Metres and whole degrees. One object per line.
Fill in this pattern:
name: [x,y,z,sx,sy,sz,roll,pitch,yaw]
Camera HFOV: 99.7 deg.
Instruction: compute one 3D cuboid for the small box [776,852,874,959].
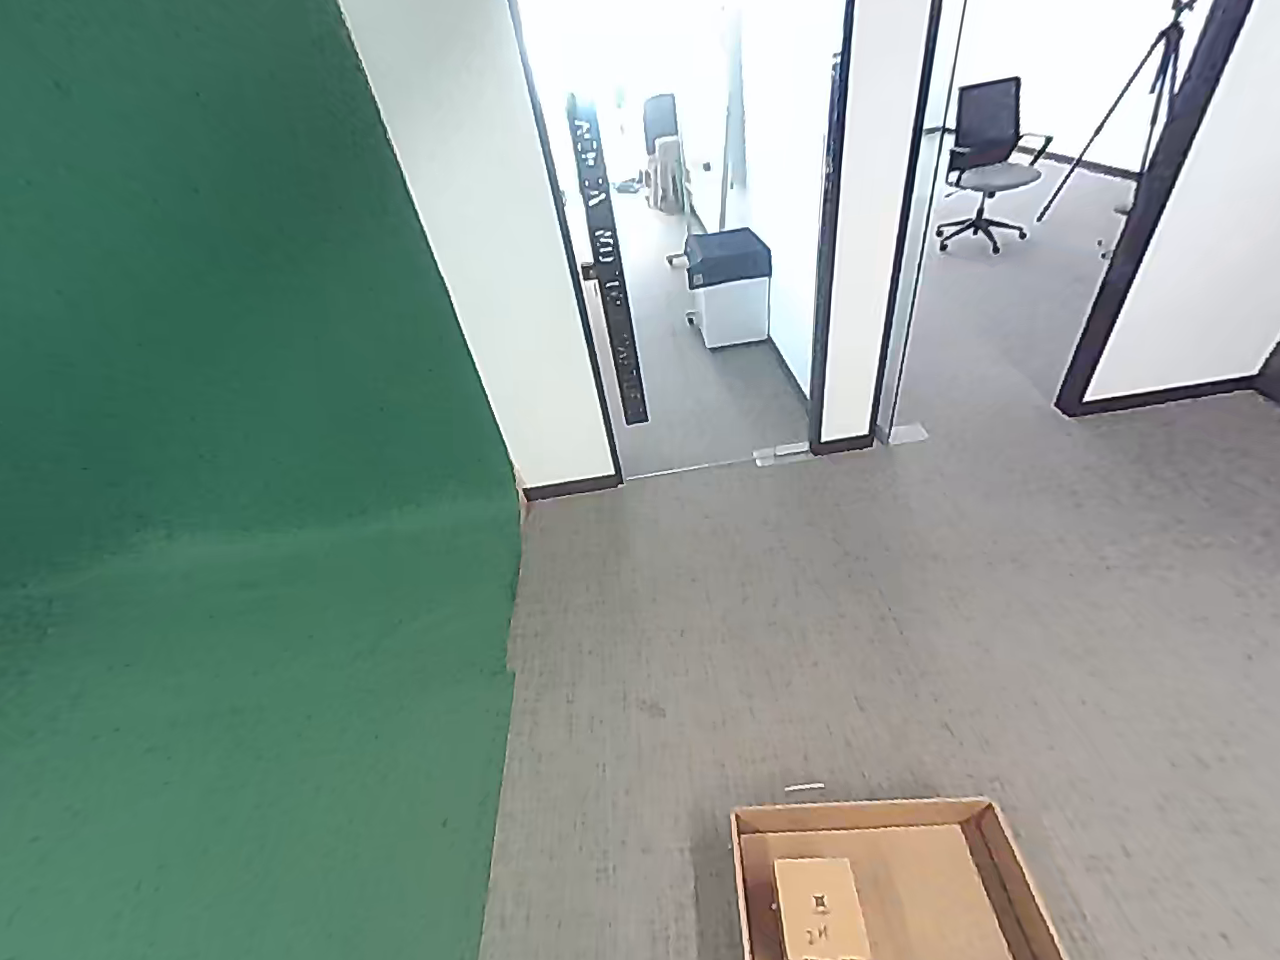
small box: [0.391,0.943,1.178,0.168,0.176,0.179,-6,38,7]
